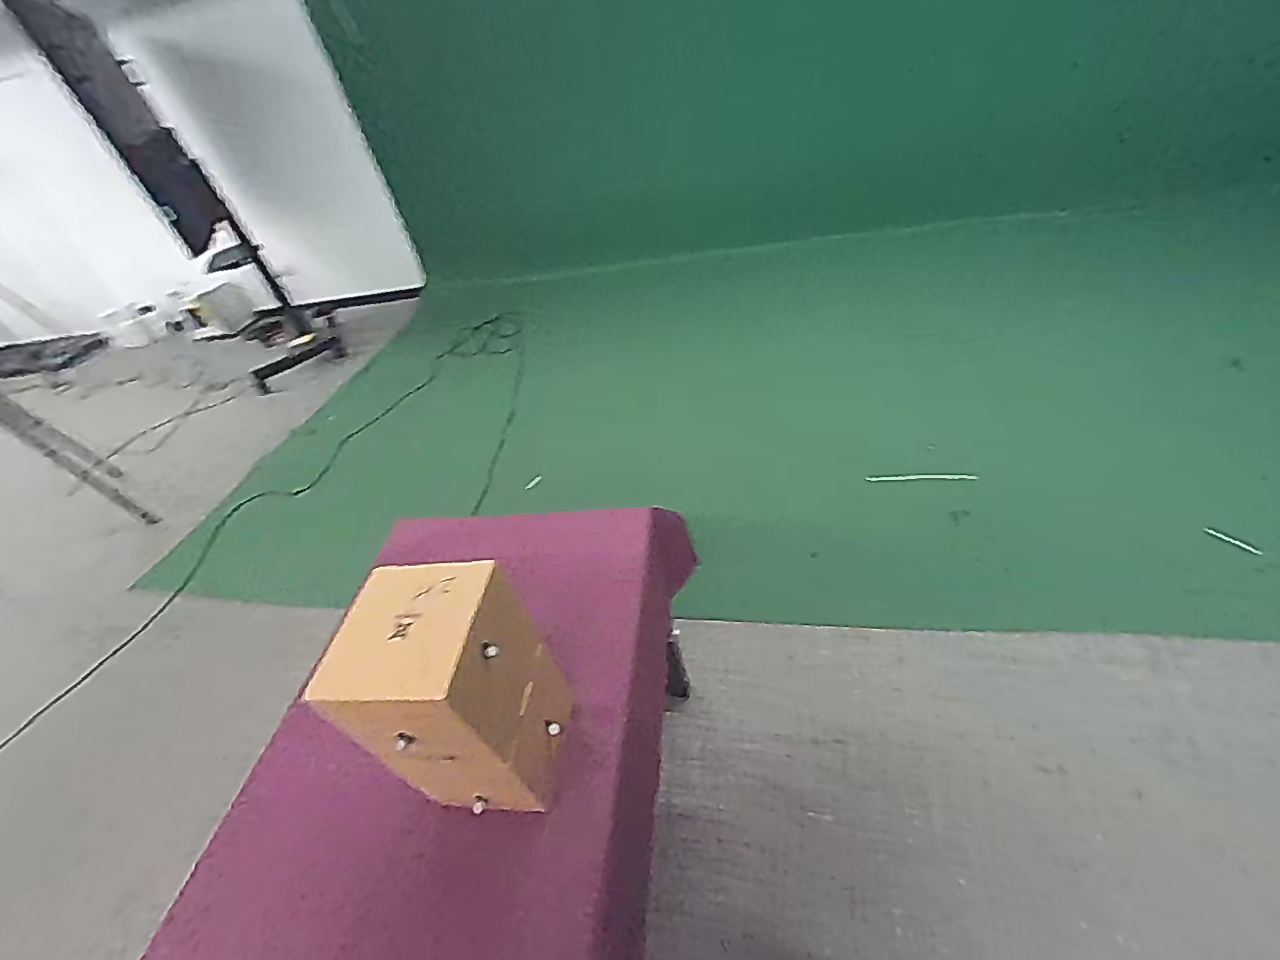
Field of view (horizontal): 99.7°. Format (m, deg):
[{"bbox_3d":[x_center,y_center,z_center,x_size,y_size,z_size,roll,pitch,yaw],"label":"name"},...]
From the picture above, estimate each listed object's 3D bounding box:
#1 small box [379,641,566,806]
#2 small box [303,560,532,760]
[{"bbox_3d":[-0.218,0.342,0.762,0.179,0.176,0.168,-3,42,12],"label":"small box"},{"bbox_3d":[-0.247,0.219,0.654,0.168,0.176,0.179,-4,42,11],"label":"small box"}]
